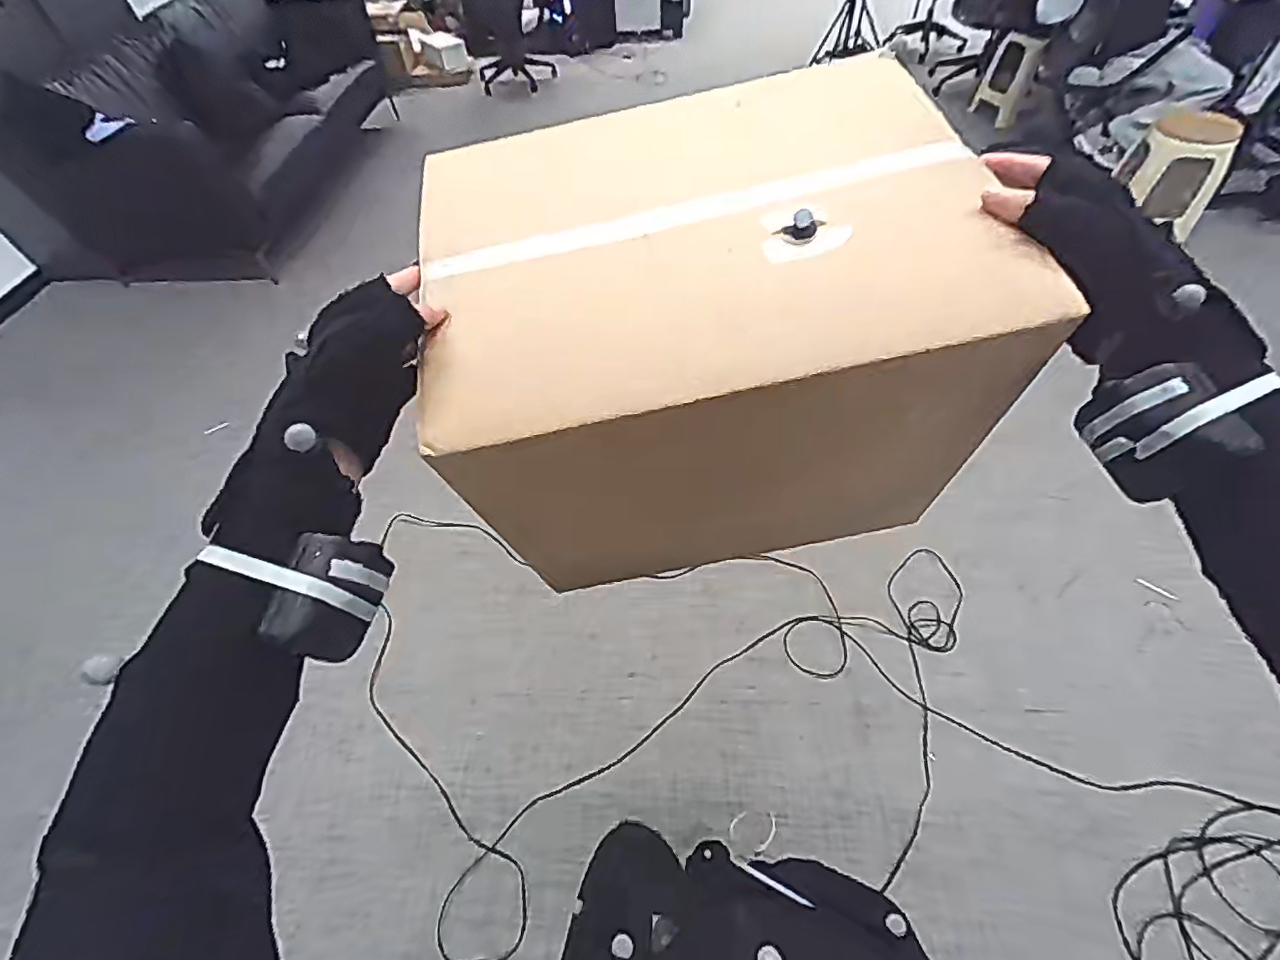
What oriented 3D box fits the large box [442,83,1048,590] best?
[{"bbox_3d":[0.058,-0.115,0.545,0.408,0.320,0.320,-12,61,2],"label":"large box"}]
